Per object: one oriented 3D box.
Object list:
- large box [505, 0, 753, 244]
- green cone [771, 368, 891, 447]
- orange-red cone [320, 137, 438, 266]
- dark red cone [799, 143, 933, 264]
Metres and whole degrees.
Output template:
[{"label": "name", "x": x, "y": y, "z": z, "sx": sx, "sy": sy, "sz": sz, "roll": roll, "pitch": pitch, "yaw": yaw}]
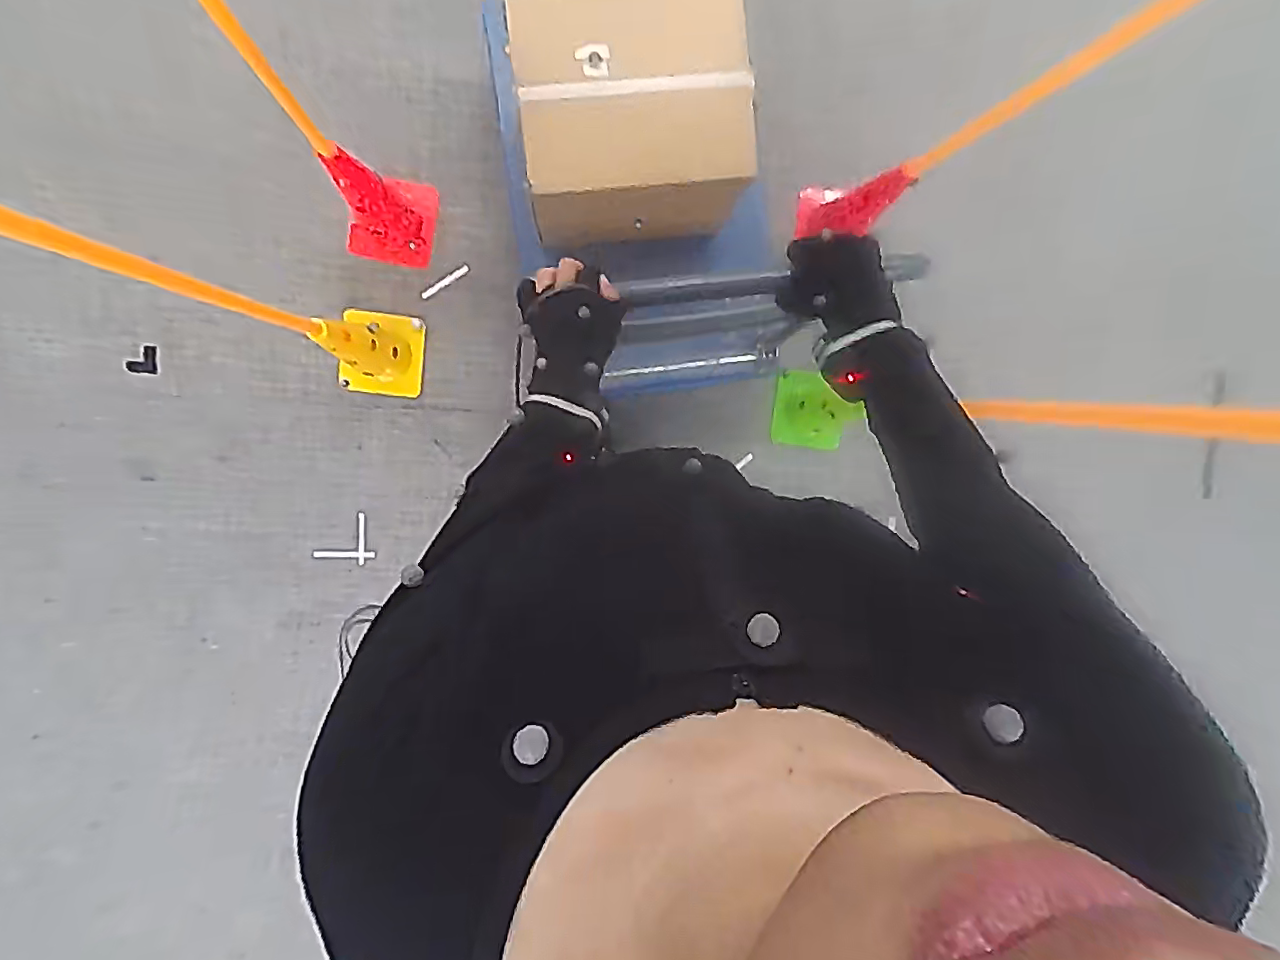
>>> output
[{"label": "large box", "x": -0.023, "y": -0.686, "z": 1.074, "sx": 0.408, "sy": 0.320, "sz": 0.320, "roll": -7, "pitch": 97, "yaw": -4}, {"label": "green cone", "x": 0.487, "y": -0.182, "z": 1.320, "sx": 0.202, "sy": 0.368, "sz": 0.200, "roll": 7, "pitch": 95, "yaw": -8}, {"label": "orange-red cone", "x": -0.593, "y": -0.632, "z": 1.170, "sx": 0.198, "sy": 0.360, "sz": 0.199, "roll": 10, "pitch": 93, "yaw": -8}, {"label": "dark red cone", "x": 0.537, "y": -0.662, "z": 1.260, "sx": 0.201, "sy": 0.394, "sz": 0.202, "roll": 3, "pitch": 96, "yaw": -8}]
